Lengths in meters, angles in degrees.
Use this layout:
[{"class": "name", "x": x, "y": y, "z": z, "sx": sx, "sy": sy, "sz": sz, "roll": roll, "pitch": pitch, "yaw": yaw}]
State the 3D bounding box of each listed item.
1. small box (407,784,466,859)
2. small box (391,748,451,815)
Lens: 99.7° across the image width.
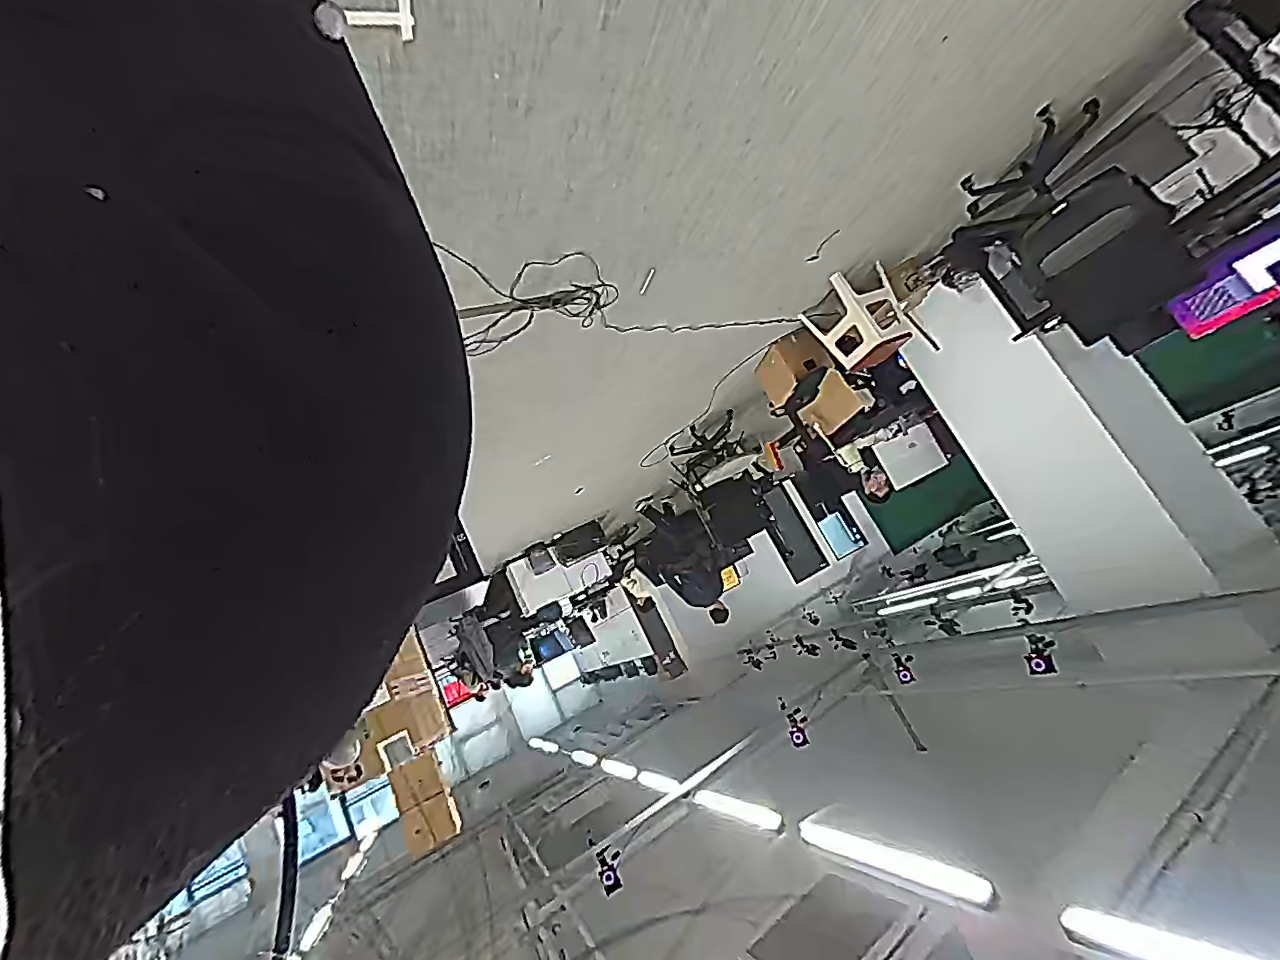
[{"class": "small box", "x": -0.803, "y": 1.336, "z": 2.128, "sx": 0.179, "sy": 0.176, "sz": 0.168, "roll": -22, "pitch": 170, "yaw": -20}, {"class": "small box", "x": -0.873, "y": 1.193, "z": 2.163, "sx": 0.179, "sy": 0.176, "sz": 0.168, "roll": -22, "pitch": 168, "yaw": -22}]
